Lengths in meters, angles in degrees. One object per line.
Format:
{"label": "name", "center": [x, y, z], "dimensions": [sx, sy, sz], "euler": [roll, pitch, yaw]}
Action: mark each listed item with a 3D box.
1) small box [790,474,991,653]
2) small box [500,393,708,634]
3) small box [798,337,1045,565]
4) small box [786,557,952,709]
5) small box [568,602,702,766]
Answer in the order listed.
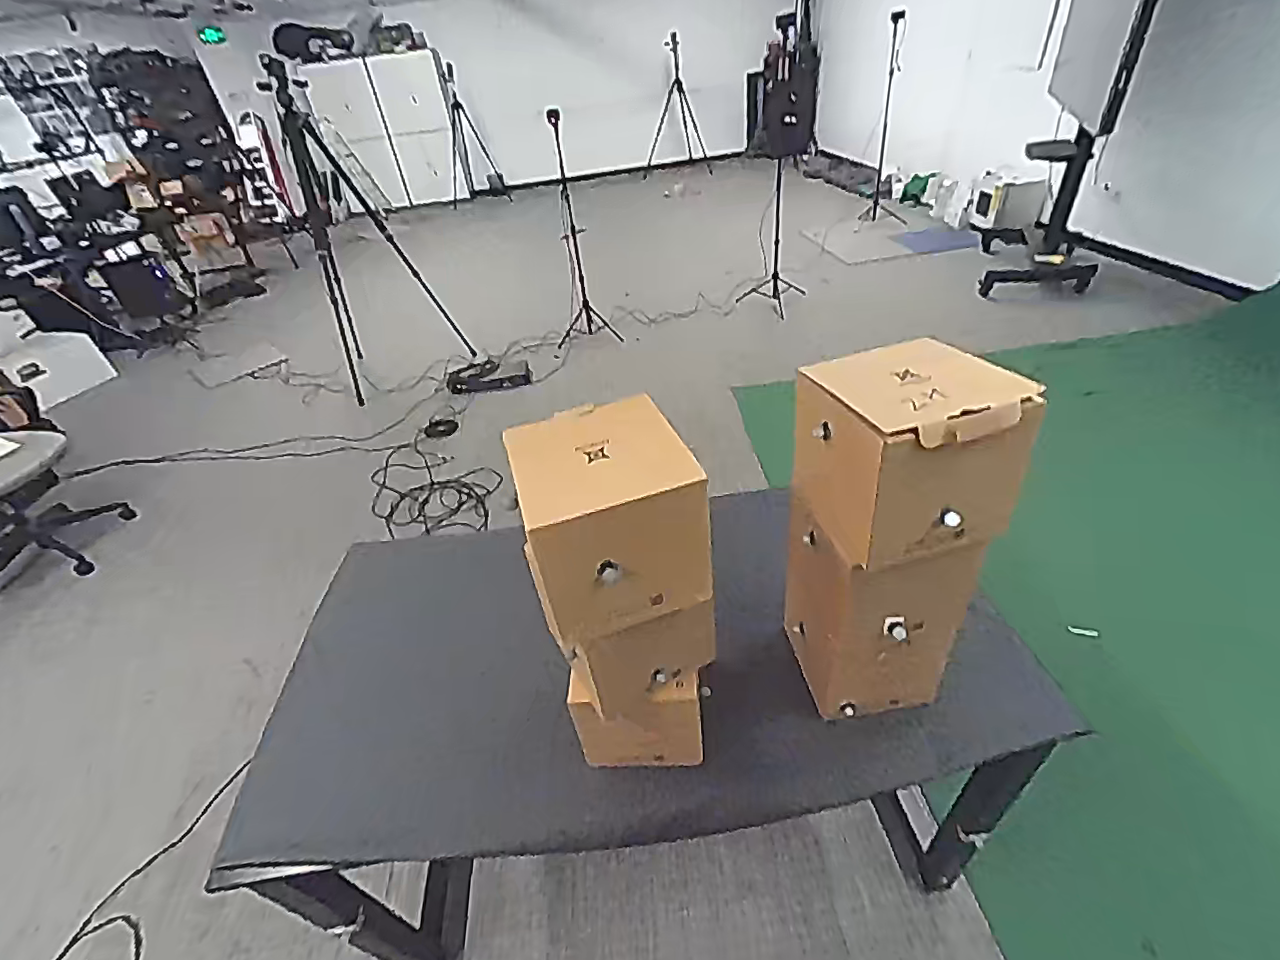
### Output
{"label": "small box", "center": [0.304, 0.092, 0.704], "dimensions": [0.168, 0.176, 0.179], "euler": [-13, 37, -3]}
{"label": "small box", "center": [-0.035, 0.037, 0.568], "dimensions": [0.168, 0.176, 0.179], "euler": [-17, 38, -11]}
{"label": "small box", "center": [0.286, -0.036, 0.599], "dimensions": [0.168, 0.176, 0.179], "euler": [-15, 36, -5]}
{"label": "small box", "center": [0.323, 0.218, 0.803], "dimensions": [0.168, 0.176, 0.179], "euler": [-10, 35, -1]}
{"label": "small box", "center": [0.001, 0.284, 0.781], "dimensions": [0.168, 0.176, 0.179], "euler": [-4, 36, 6]}
